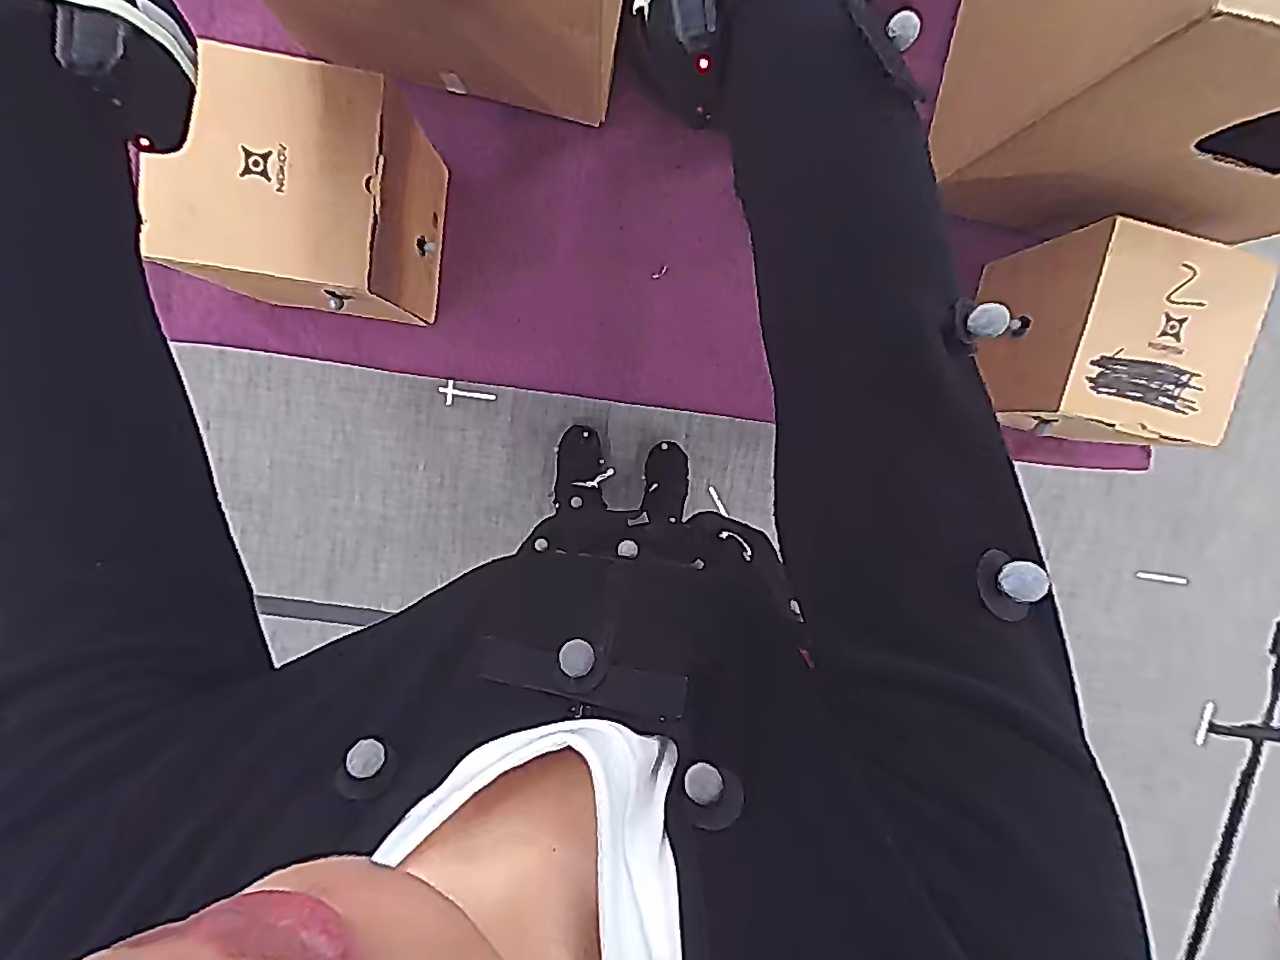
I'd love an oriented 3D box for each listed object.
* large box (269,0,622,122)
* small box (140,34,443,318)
[{"bbox_3d":[-0.144,-0.577,0.398,0.320,0.320,0.408,10,100,-5],"label":"large box"},{"bbox_3d":[-0.301,-0.256,0.502,0.179,0.176,0.168,7,96,-6],"label":"small box"}]
